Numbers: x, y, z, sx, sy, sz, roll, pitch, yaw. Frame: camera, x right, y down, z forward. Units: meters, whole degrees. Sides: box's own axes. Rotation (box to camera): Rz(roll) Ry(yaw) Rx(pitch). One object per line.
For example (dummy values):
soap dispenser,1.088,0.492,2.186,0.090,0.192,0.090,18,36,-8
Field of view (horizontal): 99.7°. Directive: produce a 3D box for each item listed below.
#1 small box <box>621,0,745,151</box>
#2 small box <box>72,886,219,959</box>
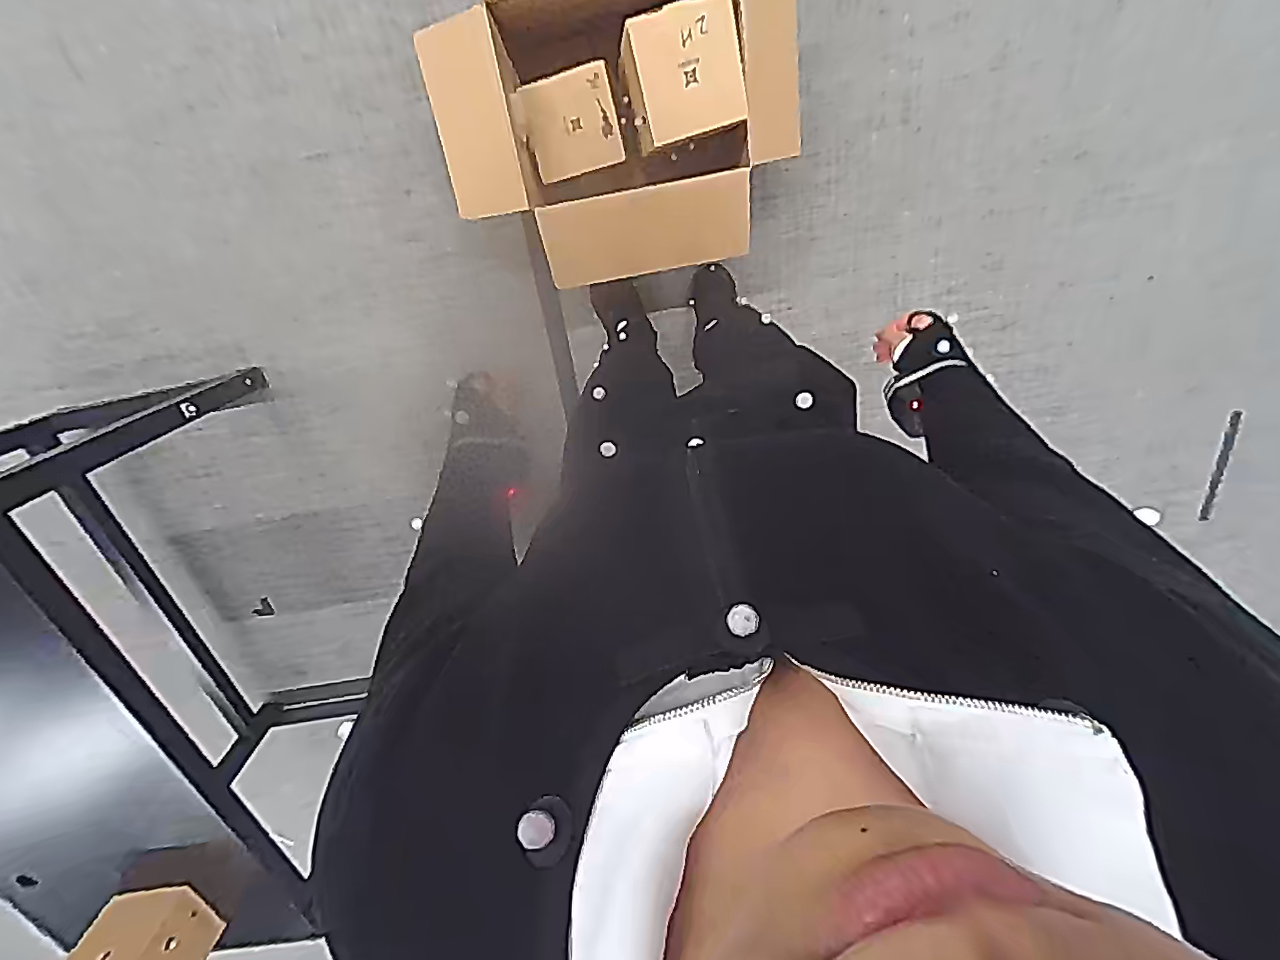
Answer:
small box,0.069,-0.685,0.928,0.168,0.176,0.179,-16,116,2
small box,-1.042,0.990,1.138,0.179,0.176,0.168,-10,115,5
